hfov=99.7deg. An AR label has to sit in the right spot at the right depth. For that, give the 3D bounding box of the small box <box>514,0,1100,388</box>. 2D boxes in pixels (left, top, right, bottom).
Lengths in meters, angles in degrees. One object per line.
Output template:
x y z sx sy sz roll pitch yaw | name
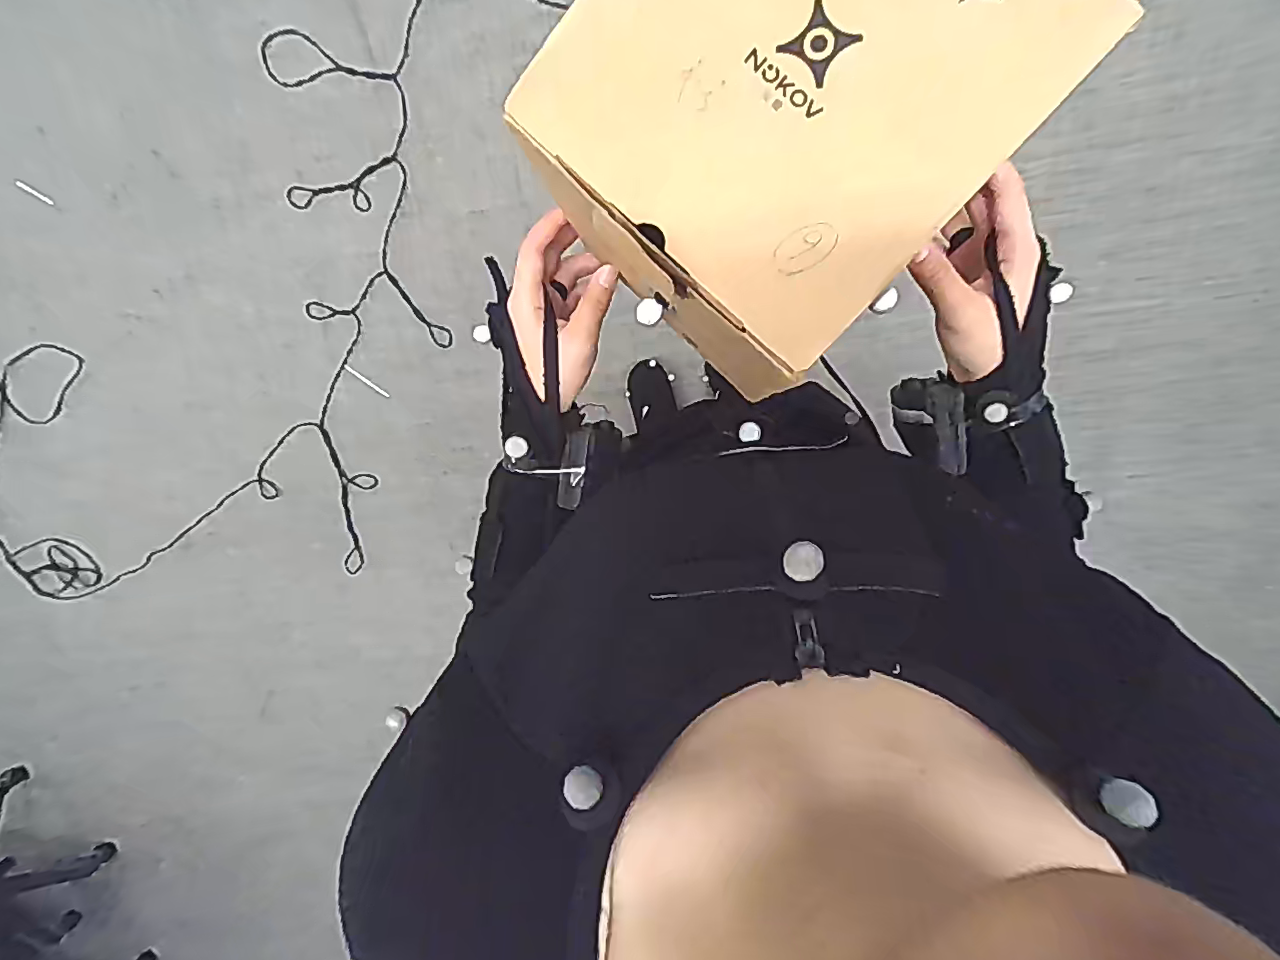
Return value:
0.069 -0.166 0.297 0.168 0.176 0.179 43 99 1 | small box
